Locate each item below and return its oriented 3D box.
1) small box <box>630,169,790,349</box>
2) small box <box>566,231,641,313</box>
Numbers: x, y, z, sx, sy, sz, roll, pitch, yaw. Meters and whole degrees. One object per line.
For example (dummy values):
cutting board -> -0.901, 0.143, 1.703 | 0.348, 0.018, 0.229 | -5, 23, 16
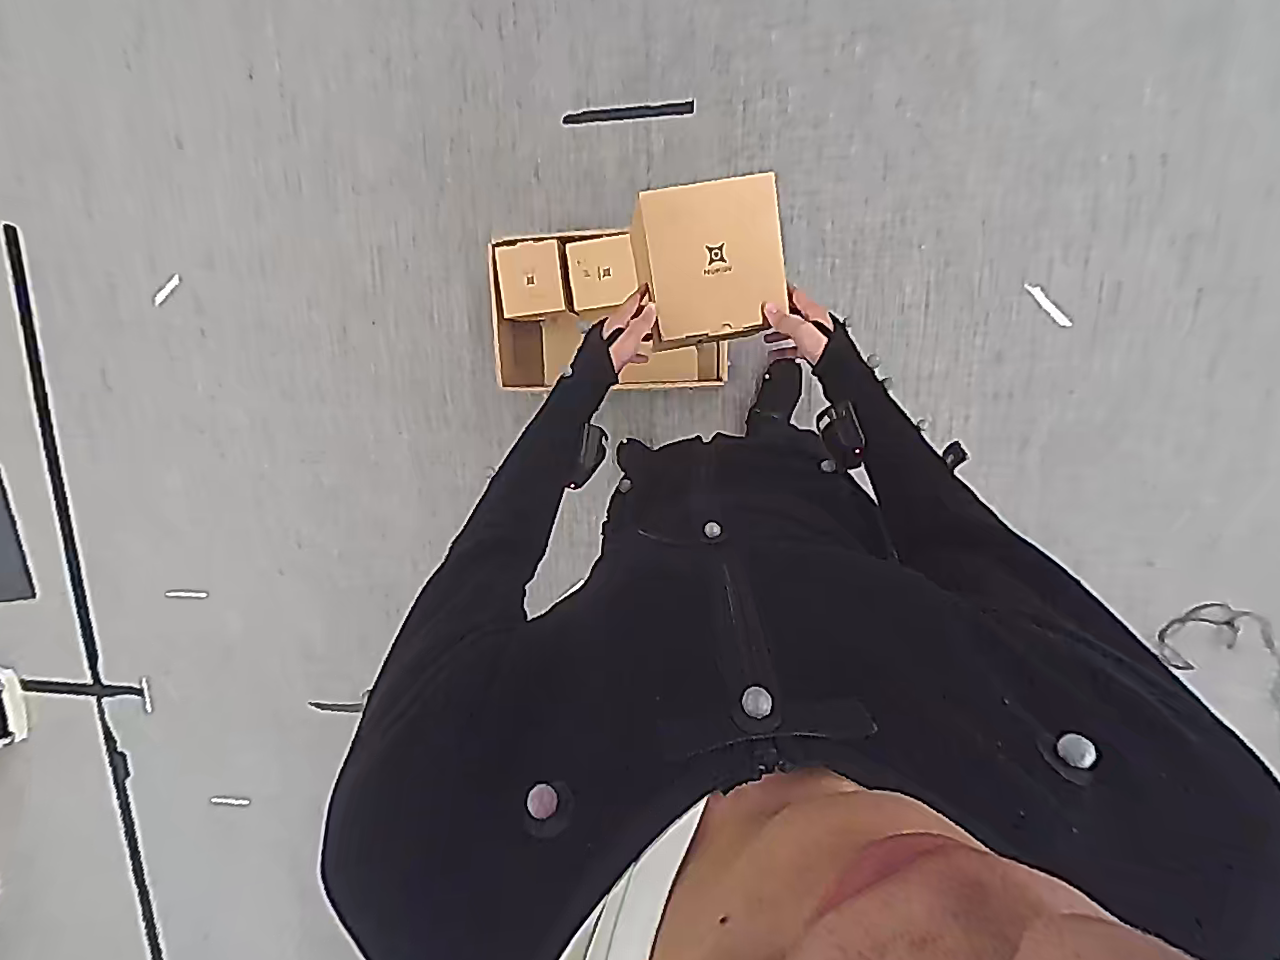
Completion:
small box -> 0.083, -0.279, 0.717 | 0.168, 0.176, 0.179 | -10, 101, -2
small box -> -0.085, -0.539, 1.422 | 0.179, 0.176, 0.168 | -5, 100, 6
